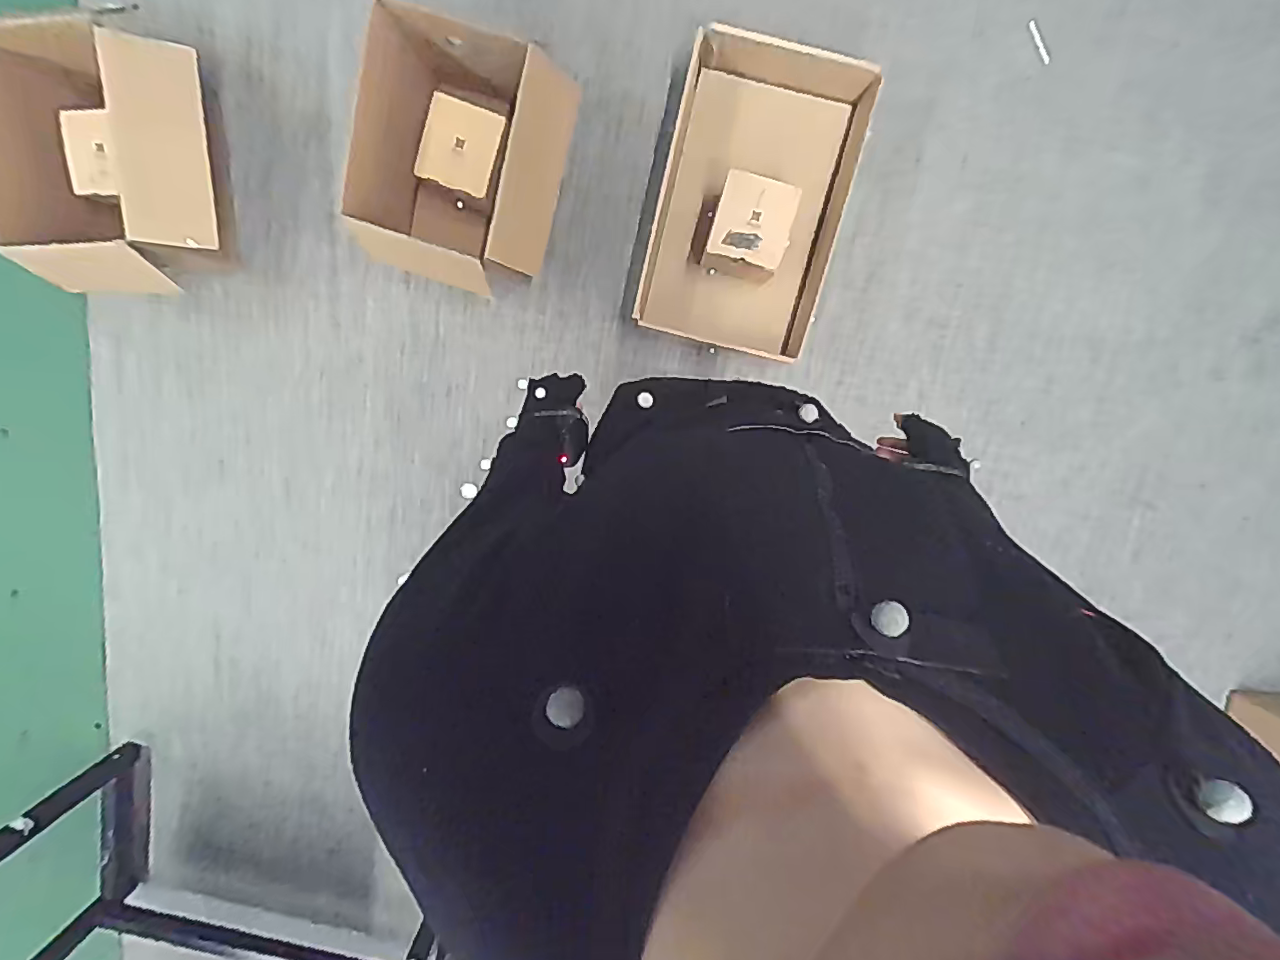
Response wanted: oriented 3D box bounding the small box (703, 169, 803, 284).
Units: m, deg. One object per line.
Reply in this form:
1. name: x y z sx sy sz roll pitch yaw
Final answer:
1. small box: 0.245 -0.562 1.226 0.168 0.176 0.179 16 99 -1
